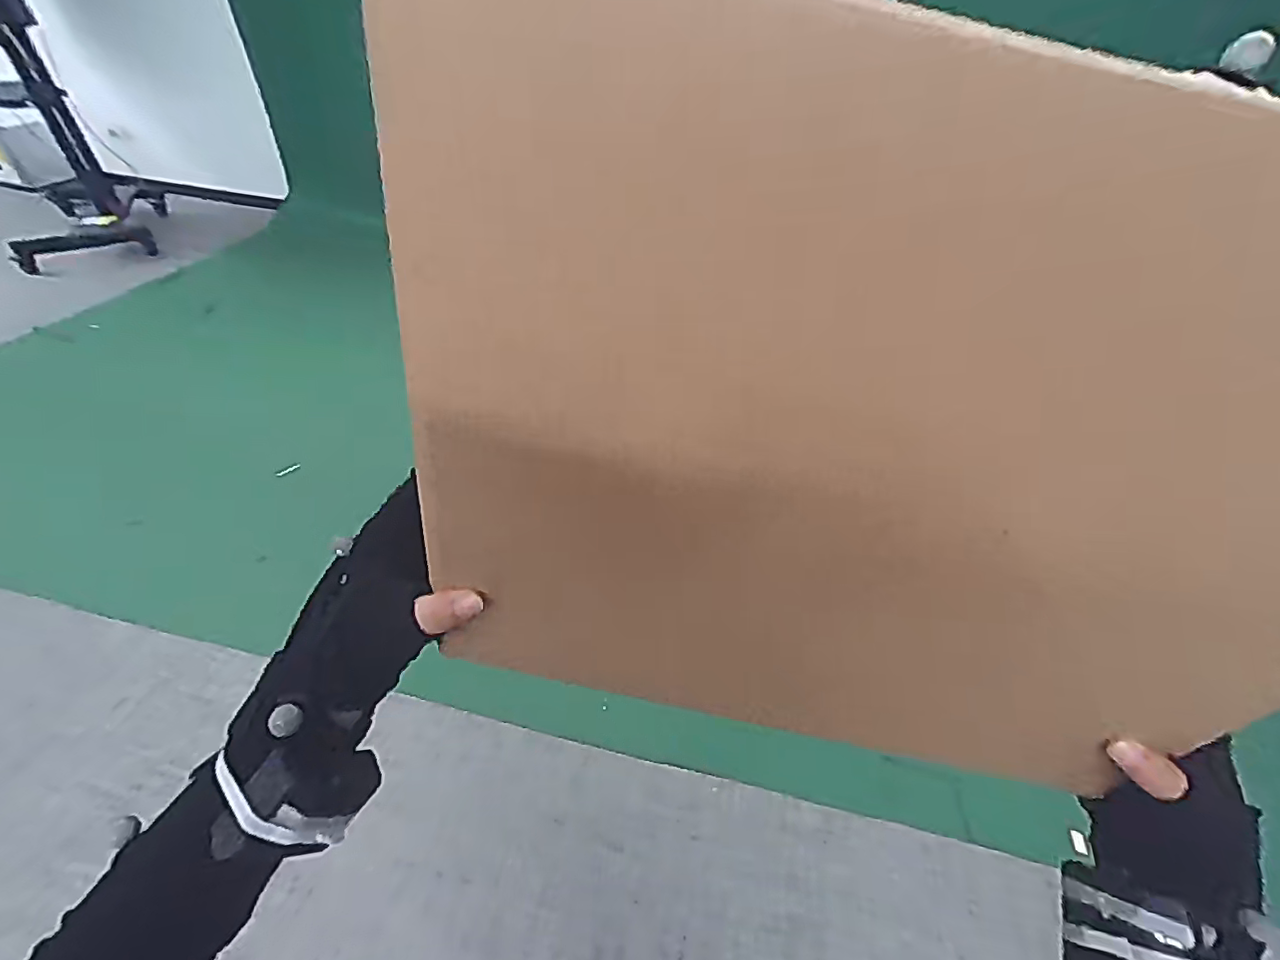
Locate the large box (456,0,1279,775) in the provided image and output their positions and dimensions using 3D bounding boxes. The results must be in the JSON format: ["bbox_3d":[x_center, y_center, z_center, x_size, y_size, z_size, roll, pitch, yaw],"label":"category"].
[{"bbox_3d":[0.131,-0.061,0.343,0.408,0.320,0.320,13,41,-3],"label":"large box"}]
